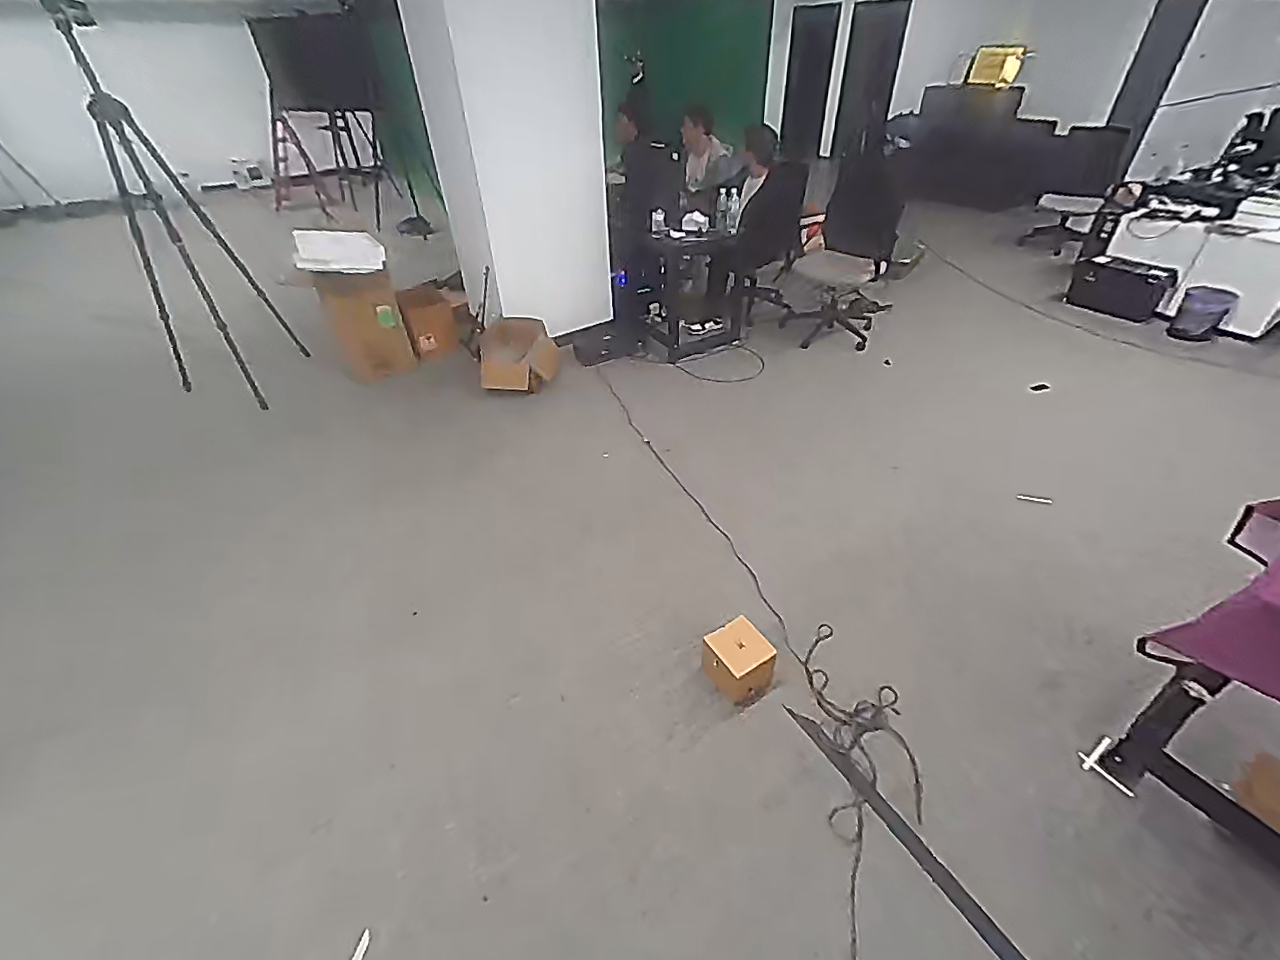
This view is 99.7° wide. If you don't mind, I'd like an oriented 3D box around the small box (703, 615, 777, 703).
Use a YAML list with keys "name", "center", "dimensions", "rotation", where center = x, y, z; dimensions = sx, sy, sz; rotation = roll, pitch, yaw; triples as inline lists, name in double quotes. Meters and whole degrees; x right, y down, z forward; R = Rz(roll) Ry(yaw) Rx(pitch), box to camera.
- name: "small box"
  center: [0.317, 0.583, 1.755]
  dimensions: [0.168, 0.176, 0.179]
  rotation: [-23, 44, -22]
